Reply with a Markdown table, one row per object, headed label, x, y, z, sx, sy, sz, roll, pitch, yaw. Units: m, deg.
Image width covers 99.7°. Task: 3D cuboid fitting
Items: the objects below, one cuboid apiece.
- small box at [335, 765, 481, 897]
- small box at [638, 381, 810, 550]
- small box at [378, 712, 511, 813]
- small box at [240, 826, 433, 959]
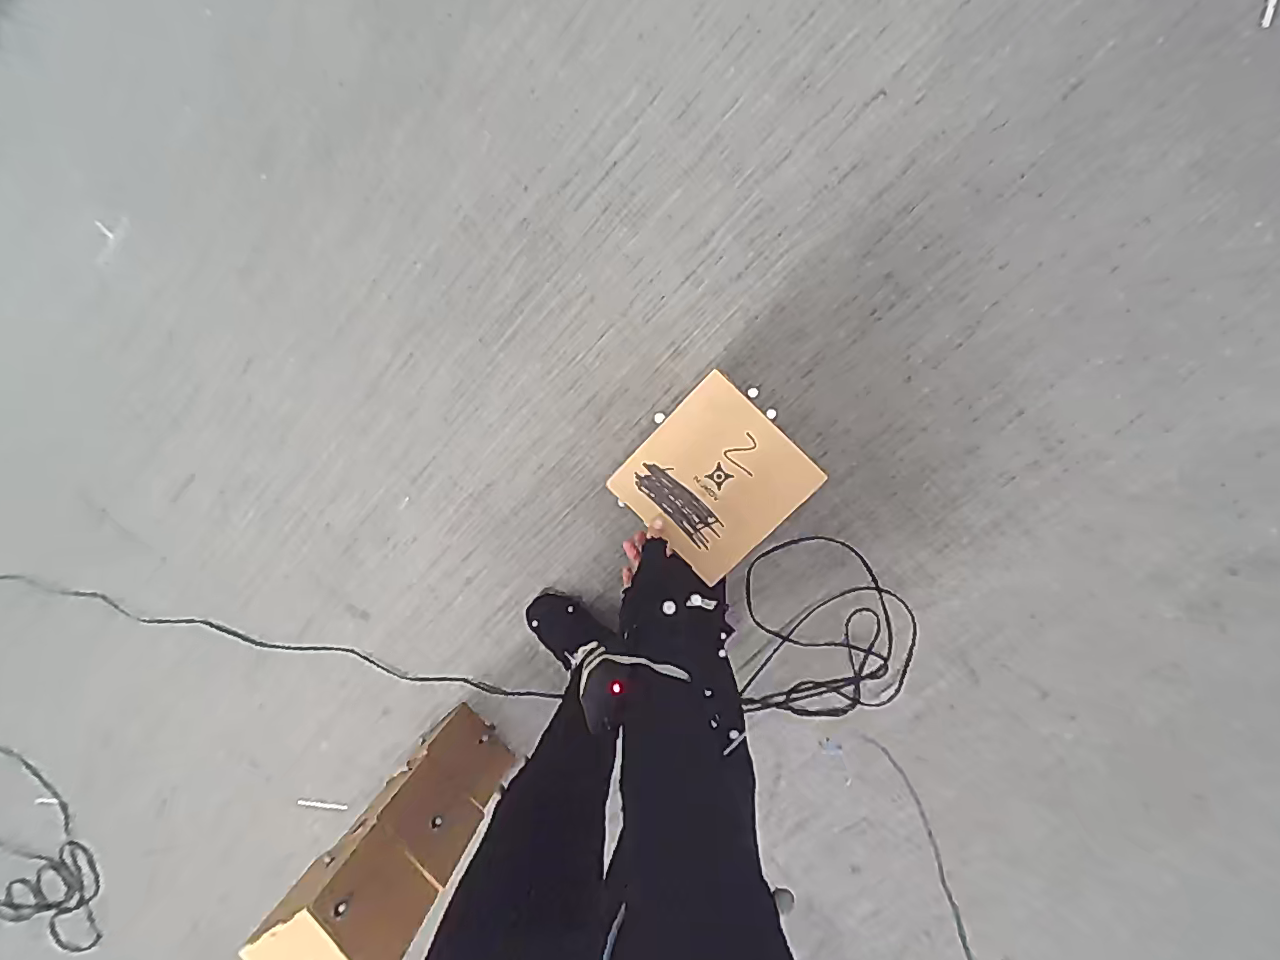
| label | x | y | z | sx | sy | sz | roll | pitch | yaw |
| --- | --- | --- | --- | --- | --- | --- | --- | --- | --- |
| small box | -0.443 | 0.683 | 1.030 | 0.168 | 0.176 | 0.179 | -41 | 93 | 14 |
| small box | 0.122 | -0.028 | 0.811 | 0.168 | 0.176 | 0.179 | -42 | 92 | 13 |
| small box | -0.421 | 0.645 | 1.190 | 0.168 | 0.176 | 0.179 | -42 | 91 | 14 |
| small box | -0.476 | 0.716 | 0.875 | 0.168 | 0.176 | 0.179 | -36 | 92 | 14 |
